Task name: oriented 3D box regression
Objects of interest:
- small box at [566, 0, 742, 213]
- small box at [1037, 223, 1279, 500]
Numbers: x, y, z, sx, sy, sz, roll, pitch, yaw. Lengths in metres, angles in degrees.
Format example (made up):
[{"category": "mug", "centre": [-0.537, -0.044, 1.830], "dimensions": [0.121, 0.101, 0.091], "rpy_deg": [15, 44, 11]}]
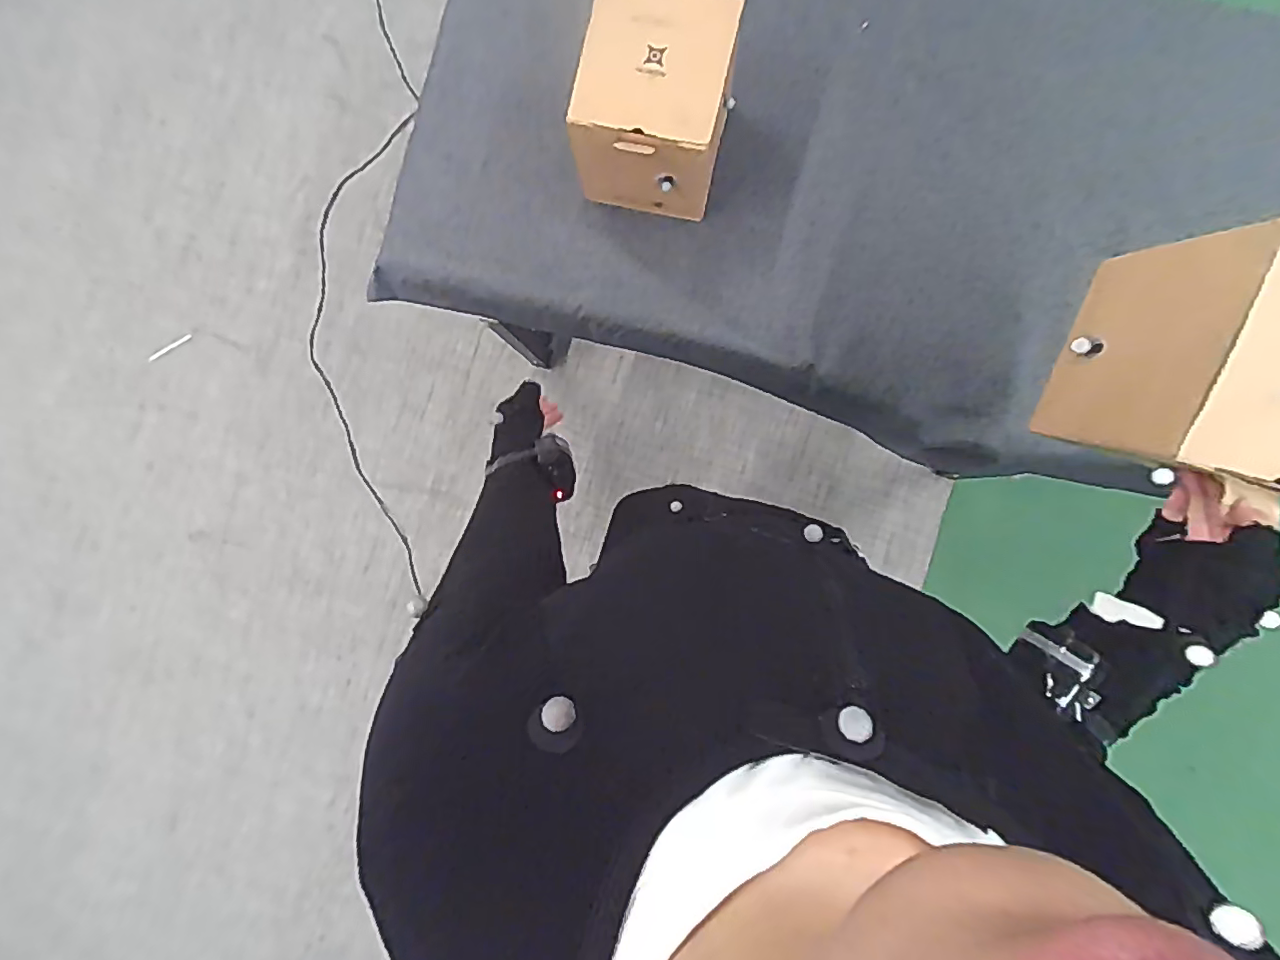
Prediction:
[{"category": "small box", "centre": [0.019, -0.467, 0.675], "dimensions": [0.168, 0.176, 0.179], "rpy_deg": [13, 89, 2]}, {"category": "small box", "centre": [0.493, -0.092, 0.463], "dimensions": [0.168, 0.176, 0.179], "rpy_deg": [15, 104, -2]}]
